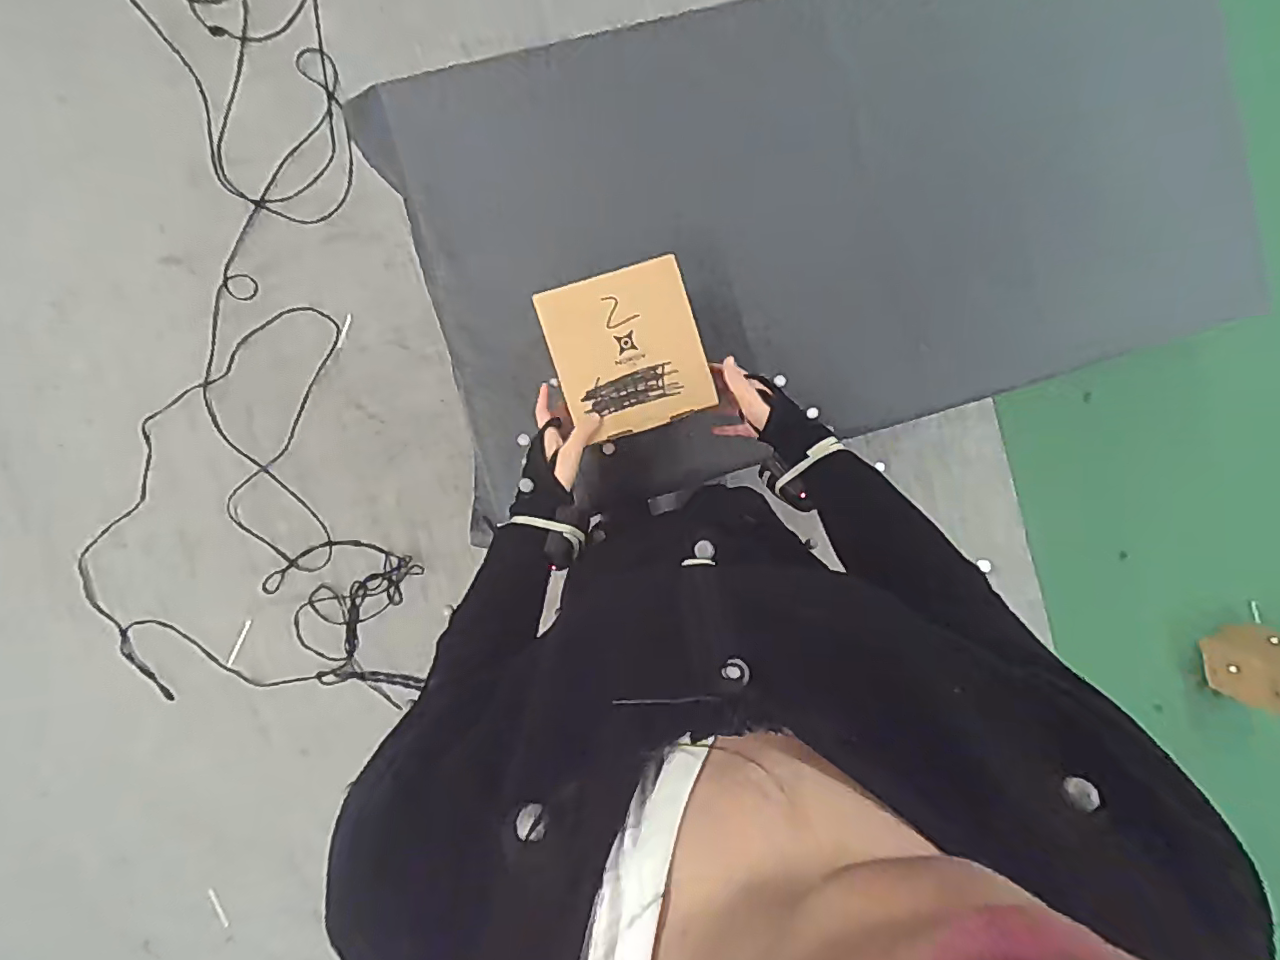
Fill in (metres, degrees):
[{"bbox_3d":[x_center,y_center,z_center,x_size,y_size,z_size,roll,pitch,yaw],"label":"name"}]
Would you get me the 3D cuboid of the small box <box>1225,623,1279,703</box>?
[{"bbox_3d":[1.853,0.533,1.557,0.179,0.176,0.168,-17,94,-3],"label":"small box"}]
